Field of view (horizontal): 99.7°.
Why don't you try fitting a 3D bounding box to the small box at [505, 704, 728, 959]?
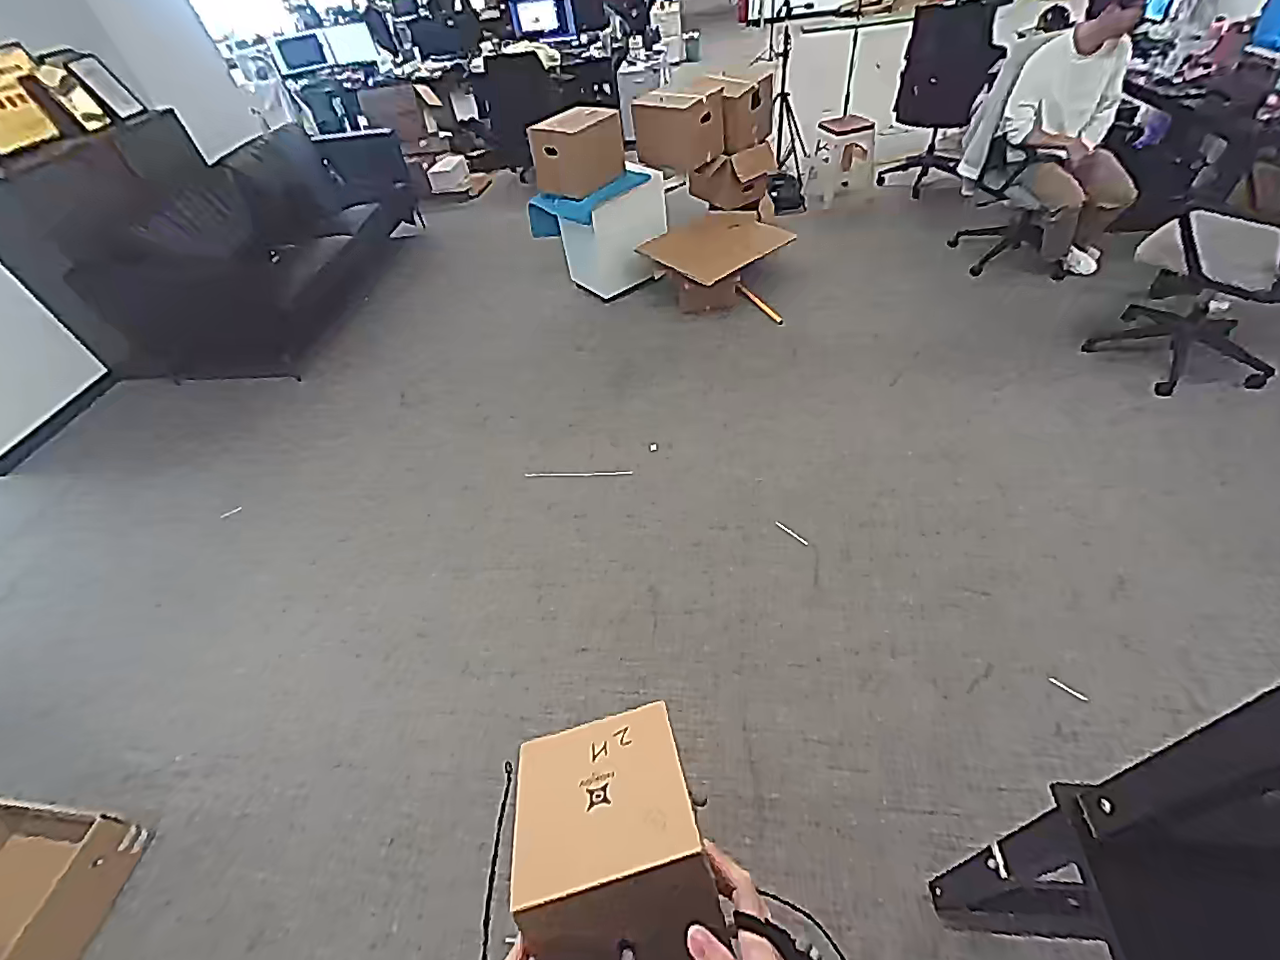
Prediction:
[{"bbox_3d":[-0.023,0.370,0.540,0.168,0.176,0.179,-16,21,-3],"label":"small box"}]
